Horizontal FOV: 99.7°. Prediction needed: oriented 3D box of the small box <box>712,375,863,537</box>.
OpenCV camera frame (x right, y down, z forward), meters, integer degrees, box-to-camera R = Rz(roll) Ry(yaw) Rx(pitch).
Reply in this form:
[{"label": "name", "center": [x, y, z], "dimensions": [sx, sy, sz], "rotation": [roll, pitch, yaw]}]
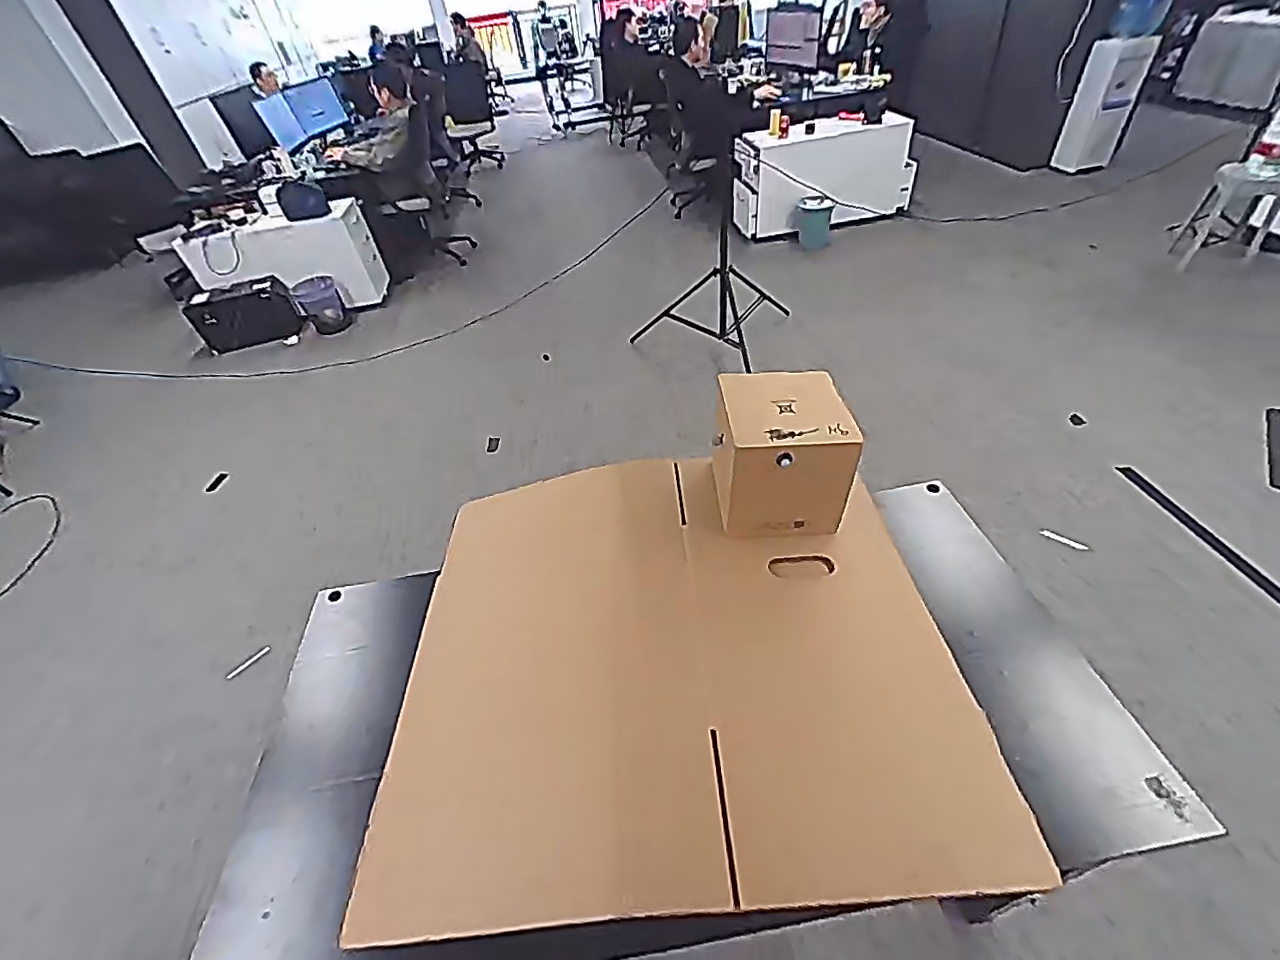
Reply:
[{"label": "small box", "center": [0.199, -0.036, 0.791], "dimensions": [0.168, 0.176, 0.179], "rotation": [-3, 41, 0]}]
